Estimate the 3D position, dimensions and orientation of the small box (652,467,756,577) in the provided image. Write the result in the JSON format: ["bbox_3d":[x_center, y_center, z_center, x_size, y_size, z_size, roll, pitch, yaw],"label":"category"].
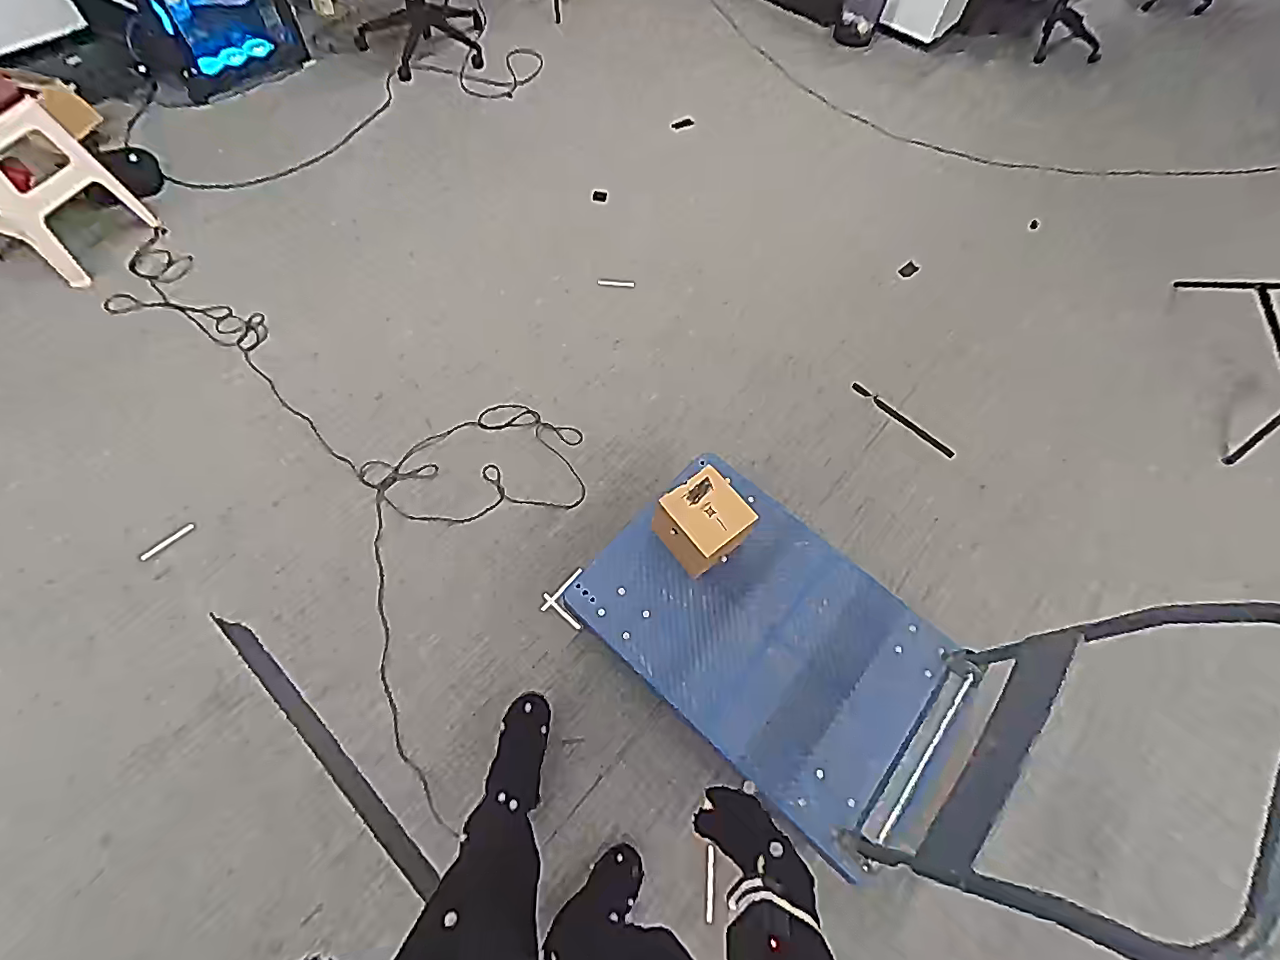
[{"bbox_3d":[0.147,0.108,1.315,0.168,0.176,0.179,-33,71,-20],"label":"small box"}]
